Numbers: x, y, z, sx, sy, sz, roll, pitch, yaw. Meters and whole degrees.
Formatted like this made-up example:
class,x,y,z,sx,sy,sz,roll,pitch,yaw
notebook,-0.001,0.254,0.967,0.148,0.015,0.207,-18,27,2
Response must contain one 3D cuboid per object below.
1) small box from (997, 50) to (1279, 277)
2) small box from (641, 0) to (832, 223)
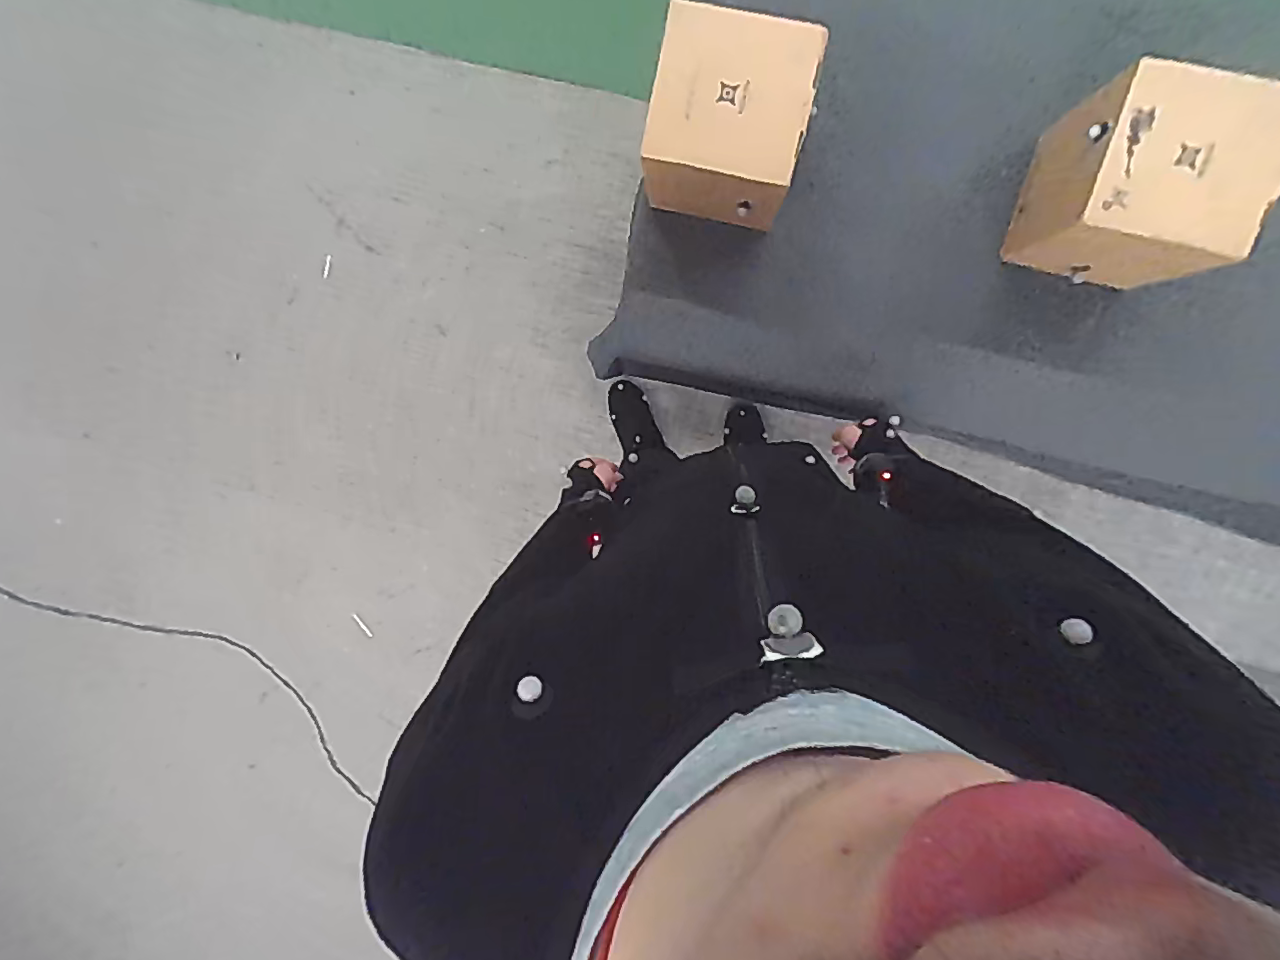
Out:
class,x,y,z,sx,sy,sz,roll,pitch,yaw
small box,0.580,-0.353,0.642,0.179,0.176,0.168,14,99,0
small box,0.105,-0.431,0.655,0.179,0.176,0.168,12,98,2
